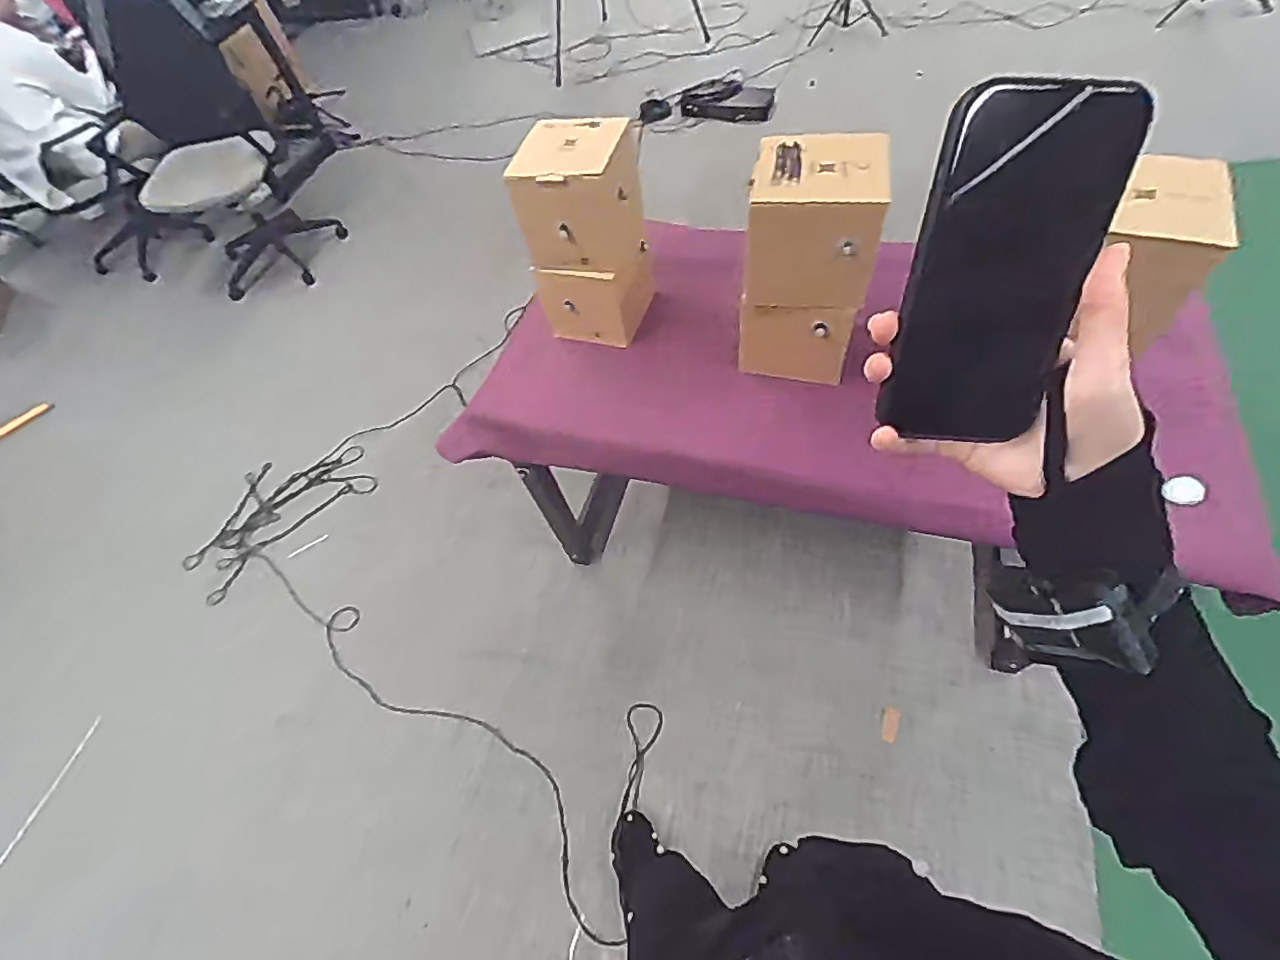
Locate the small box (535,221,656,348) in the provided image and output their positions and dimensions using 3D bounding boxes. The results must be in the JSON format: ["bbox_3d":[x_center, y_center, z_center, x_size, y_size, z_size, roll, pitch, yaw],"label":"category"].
[{"bbox_3d":[-0.076,-0.383,1.057,0.168,0.176,0.179,13,61,17],"label":"small box"}]

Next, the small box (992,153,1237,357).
[{"bbox_3d":[0.576,-0.279,0.681,0.179,0.176,0.168,18,62,19],"label":"small box"}]

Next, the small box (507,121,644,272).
[{"bbox_3d":[-0.097,-0.478,0.924,0.168,0.176,0.179,9,60,14],"label":"small box"}]

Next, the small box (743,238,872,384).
[{"bbox_3d":[0.282,-0.287,0.932,0.179,0.176,0.168,12,60,17],"label":"small box"}]
